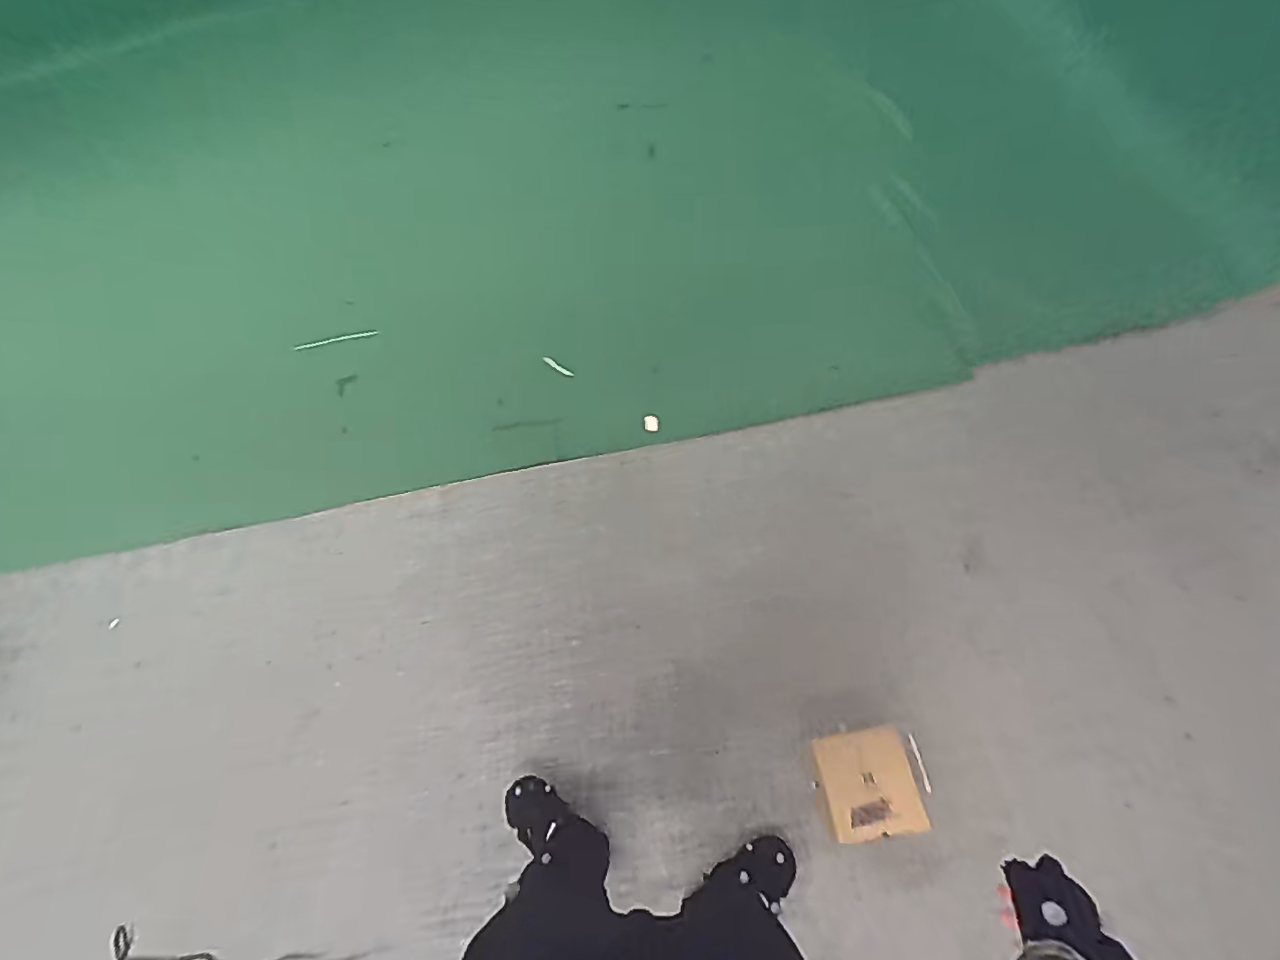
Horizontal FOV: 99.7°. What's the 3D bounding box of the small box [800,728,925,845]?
[{"bbox_3d":[0.432,0.604,1.080,0.168,0.176,0.179,-11,62,2],"label":"small box"}]
